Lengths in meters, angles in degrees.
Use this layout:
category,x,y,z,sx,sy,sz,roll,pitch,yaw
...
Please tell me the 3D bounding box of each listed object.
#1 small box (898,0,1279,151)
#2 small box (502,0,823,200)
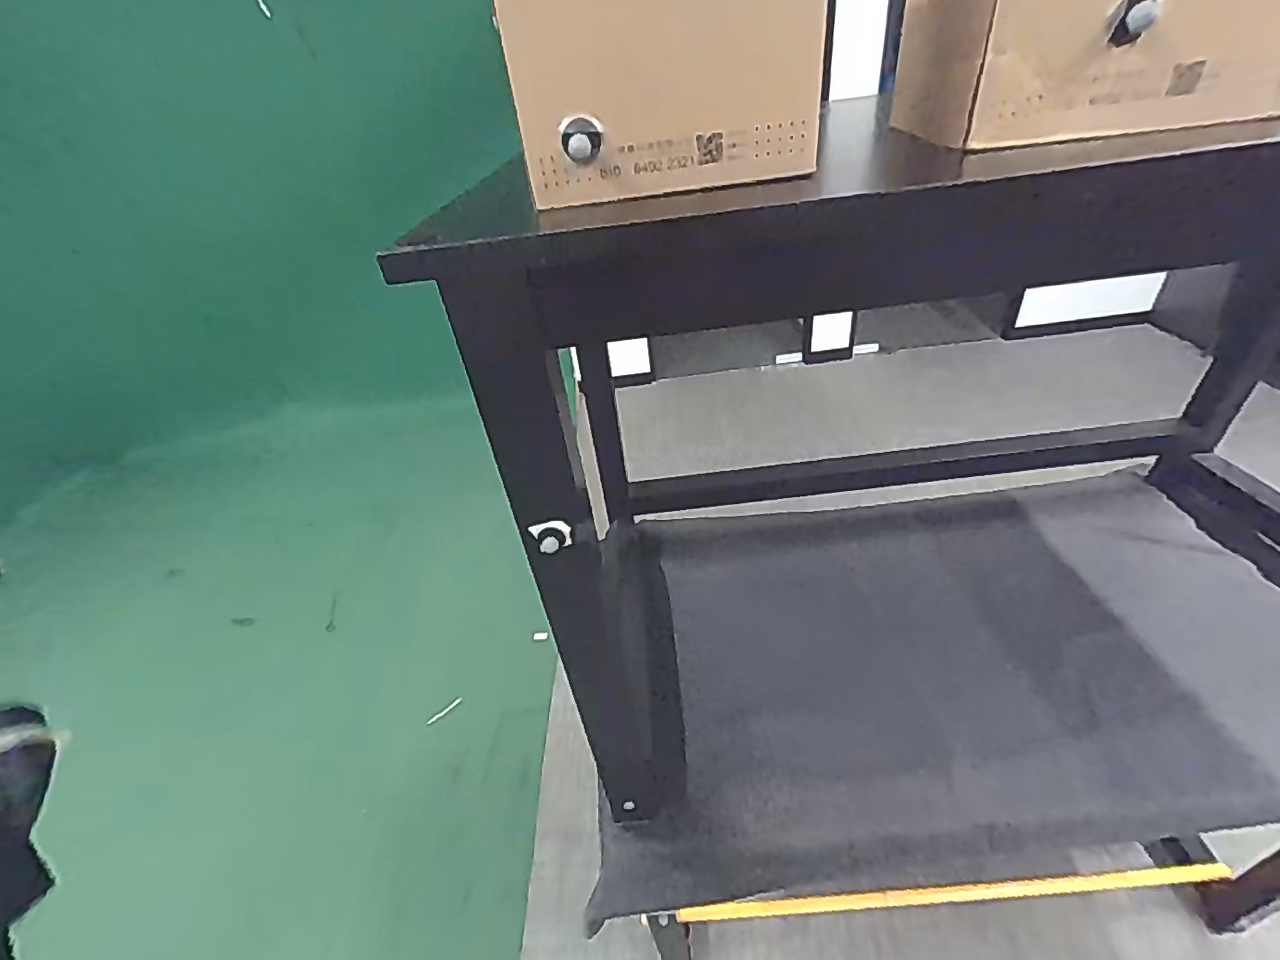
category,x,y,z,sx,sy,sz,roll,pitch,yaw
small box,0.275,-0.309,0.329,0.168,0.176,0.179,-1,37,9
small box,0.011,-0.282,0.337,0.168,0.176,0.179,-6,35,1
